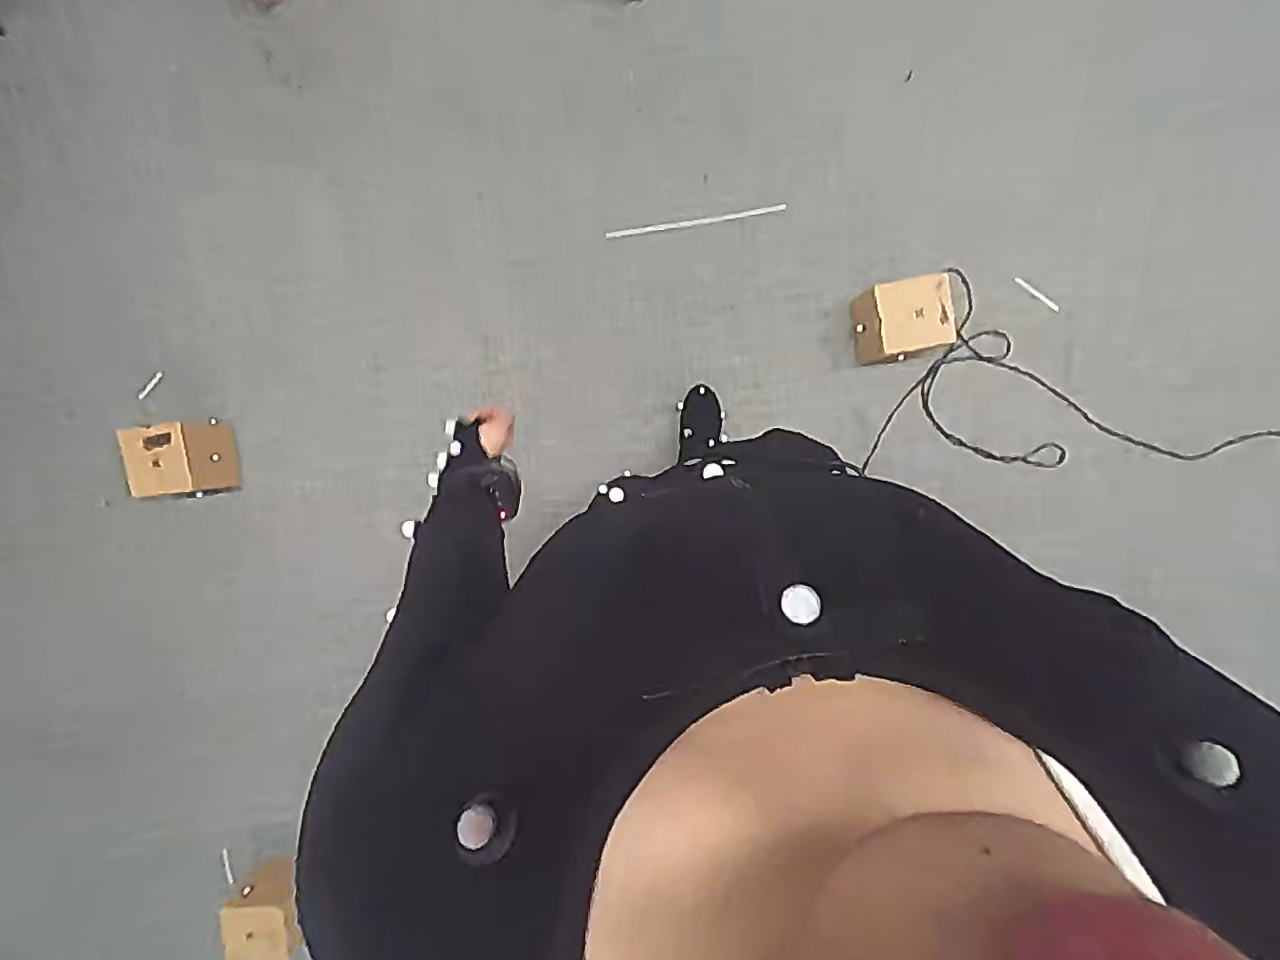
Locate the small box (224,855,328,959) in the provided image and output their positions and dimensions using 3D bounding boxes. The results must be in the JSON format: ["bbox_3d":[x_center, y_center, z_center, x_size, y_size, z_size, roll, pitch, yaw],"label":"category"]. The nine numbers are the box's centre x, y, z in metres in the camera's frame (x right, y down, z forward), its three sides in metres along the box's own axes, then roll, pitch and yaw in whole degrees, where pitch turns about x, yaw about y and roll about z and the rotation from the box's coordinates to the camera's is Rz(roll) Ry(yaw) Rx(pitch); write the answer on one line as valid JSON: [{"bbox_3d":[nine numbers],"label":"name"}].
[{"bbox_3d":[-1.015,1.191,1.519,0.179,0.176,0.168,-2,95,2],"label":"small box"}]

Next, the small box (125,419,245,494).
[{"bbox_3d":[-1.198,-0.064,1.436,0.168,0.176,0.179,-7,95,2],"label":"small box"}]

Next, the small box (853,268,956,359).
[{"bbox_3d":[0.644,-0.405,1.340,0.179,0.176,0.168,-10,94,4],"label":"small box"}]
